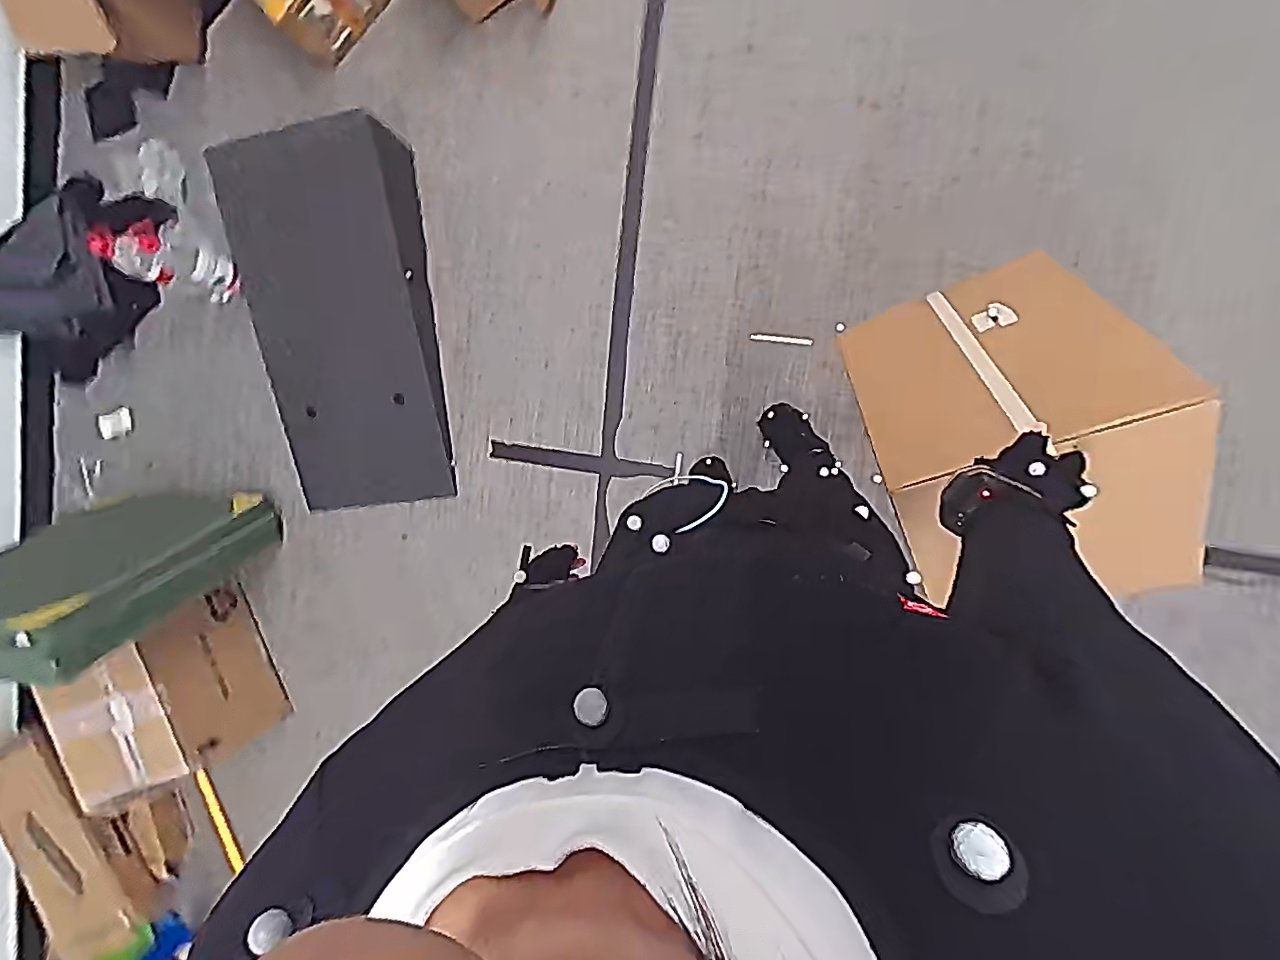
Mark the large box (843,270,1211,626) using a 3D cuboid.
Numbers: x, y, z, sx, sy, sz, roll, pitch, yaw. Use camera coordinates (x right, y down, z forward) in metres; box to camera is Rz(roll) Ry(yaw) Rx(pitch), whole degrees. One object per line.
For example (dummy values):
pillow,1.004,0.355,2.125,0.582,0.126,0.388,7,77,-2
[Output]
large box,0.542,-0.050,0.829,0.320,0.408,0.320,-18,126,23
